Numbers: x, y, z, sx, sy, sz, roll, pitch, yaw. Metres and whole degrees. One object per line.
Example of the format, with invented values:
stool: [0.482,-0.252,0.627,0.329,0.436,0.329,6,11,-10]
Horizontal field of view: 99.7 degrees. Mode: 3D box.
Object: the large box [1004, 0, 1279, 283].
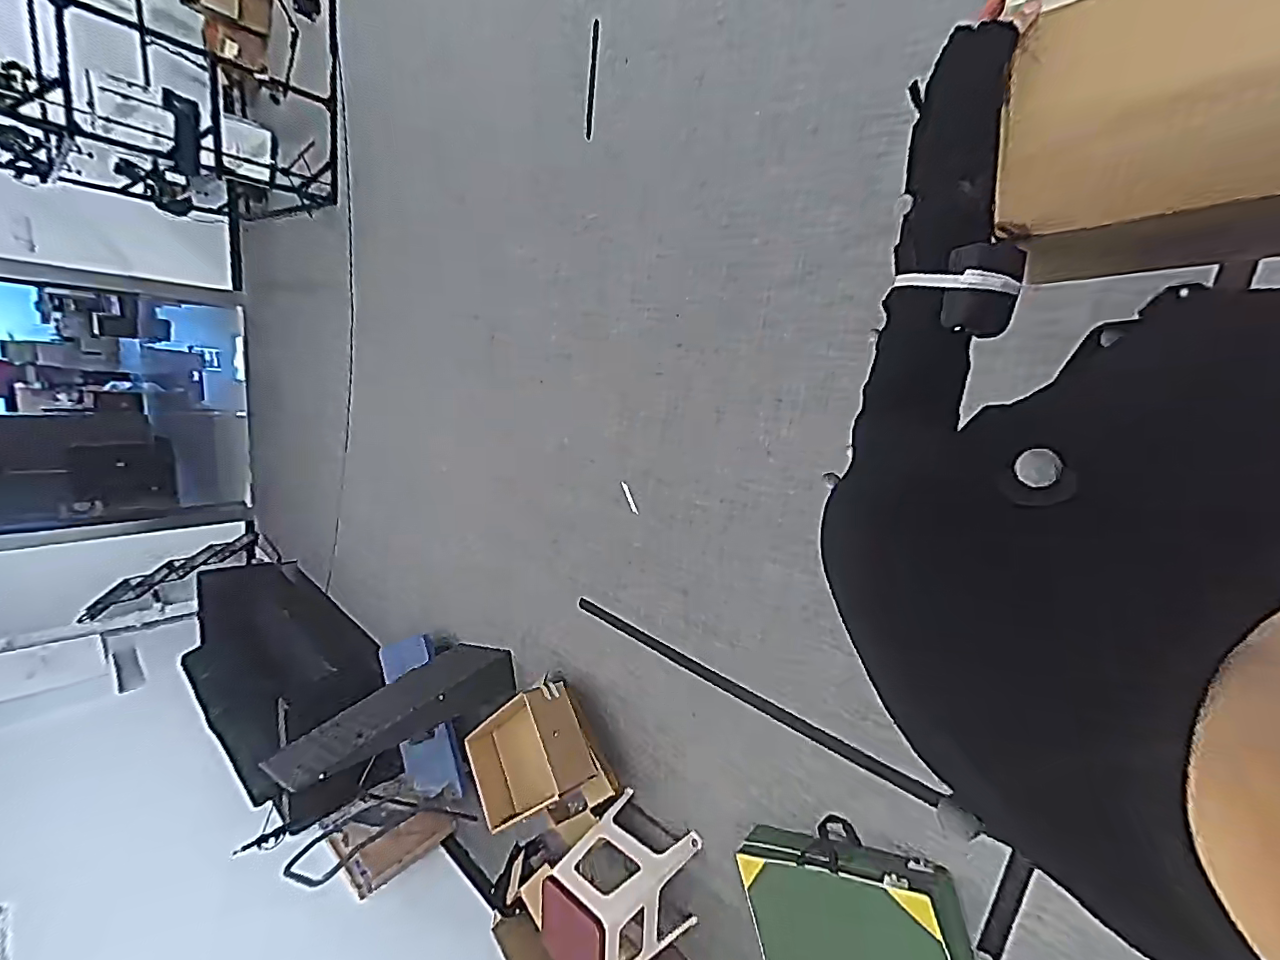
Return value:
large box: [0.521,-0.351,0.392,0.408,0.320,0.320,5,103,38]
